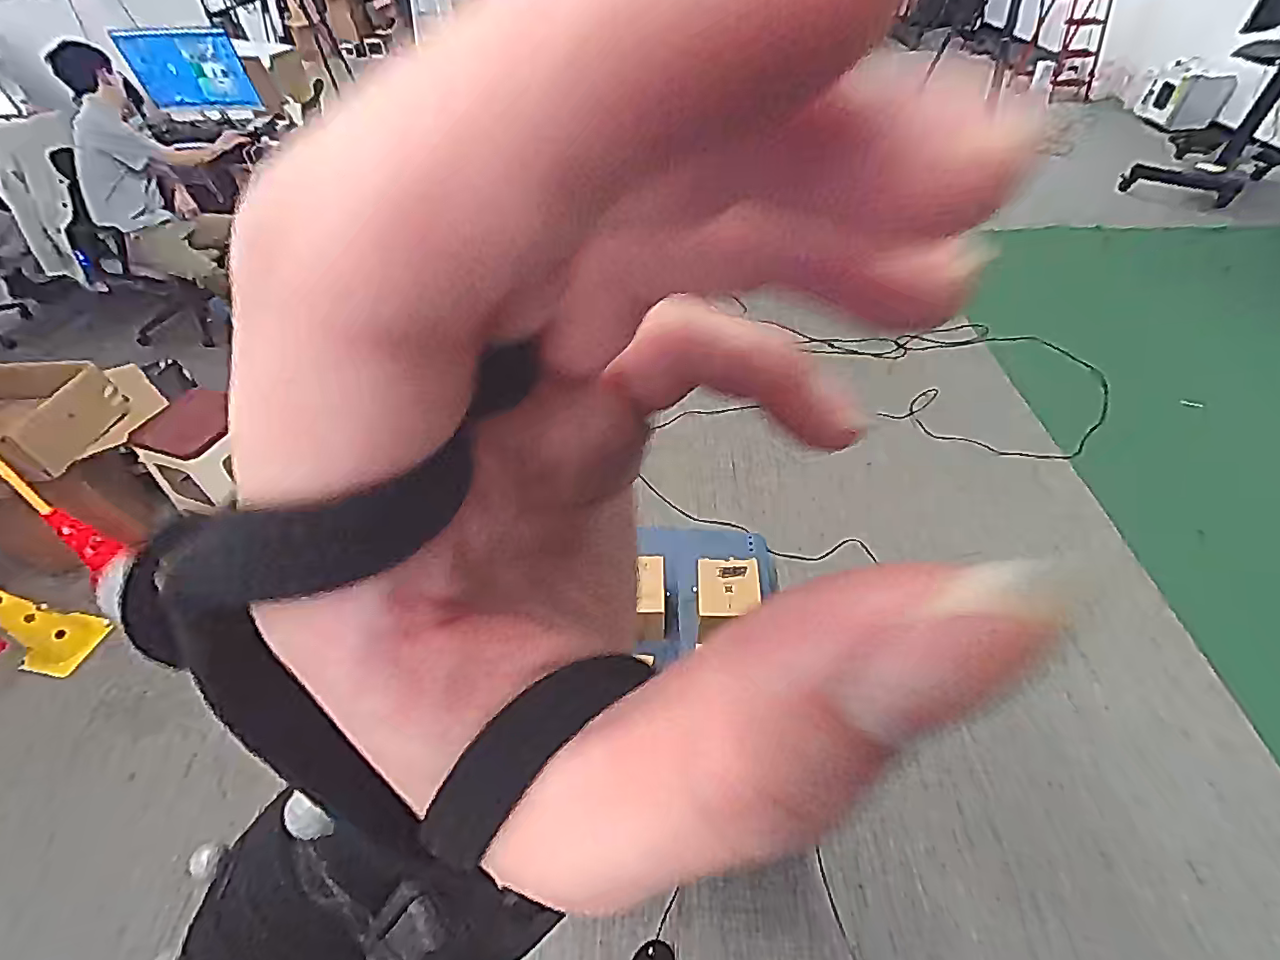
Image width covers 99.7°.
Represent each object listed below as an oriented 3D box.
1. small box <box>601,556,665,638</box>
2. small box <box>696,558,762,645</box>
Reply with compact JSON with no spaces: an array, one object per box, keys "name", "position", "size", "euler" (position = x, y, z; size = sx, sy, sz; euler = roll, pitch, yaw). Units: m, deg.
[{"name":"small box","position":[-0.014,0.331,1.518],"size":[0.168,0.176,0.179],"euler":[0,49,2]},{"name":"small box","position":[0.241,0.338,1.502],"size":[0.168,0.176,0.179],"euler":[1,50,4]}]
